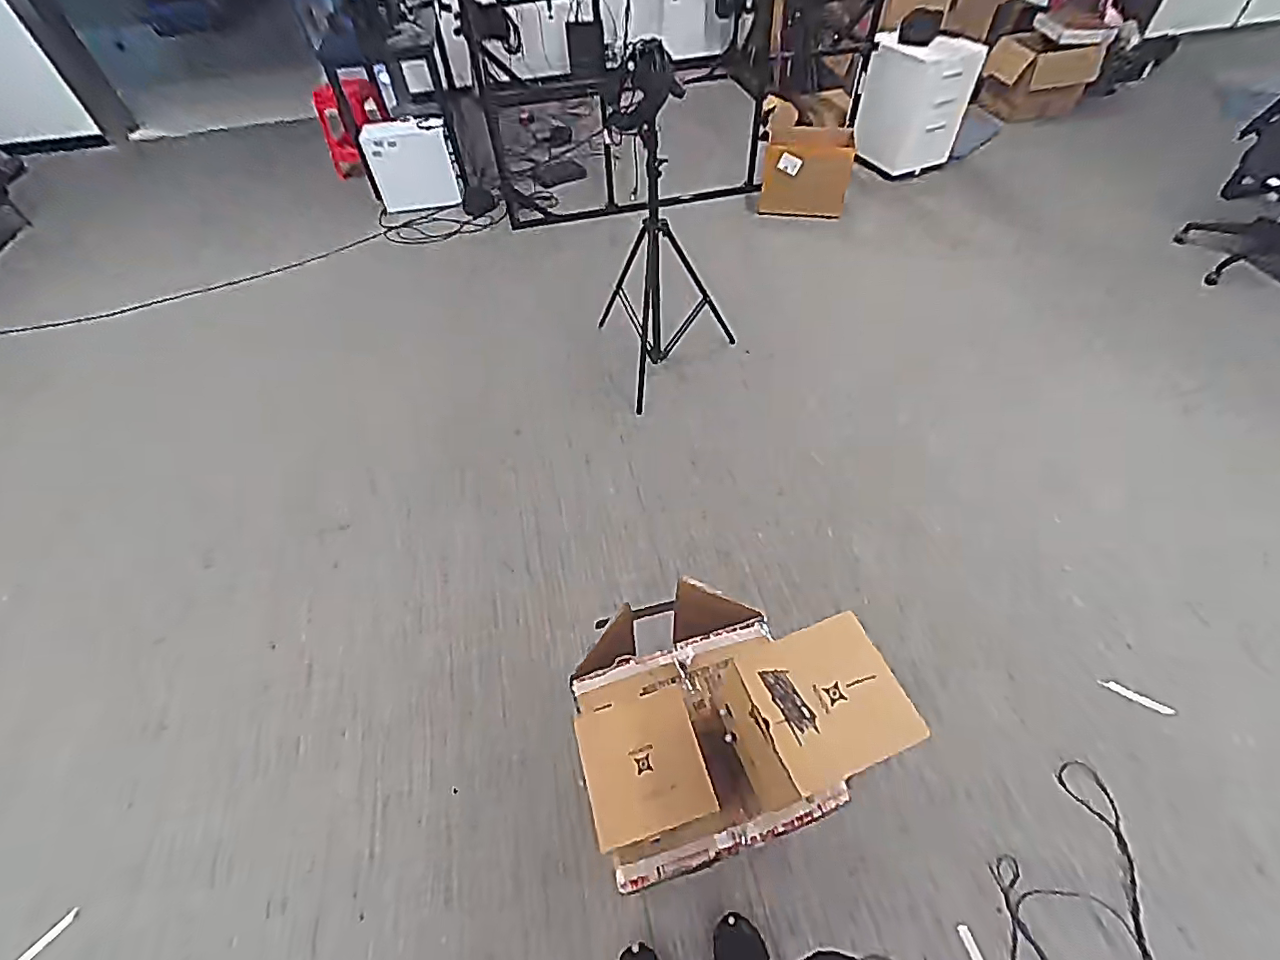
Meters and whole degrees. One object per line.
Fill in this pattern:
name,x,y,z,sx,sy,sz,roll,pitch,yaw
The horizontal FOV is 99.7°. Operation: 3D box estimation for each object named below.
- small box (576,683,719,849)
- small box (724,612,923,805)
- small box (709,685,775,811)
small box,0.008,0.441,0.829,0.168,0.176,0.179,-16,57,-7
small box,0.222,0.306,0.715,0.179,0.176,0.168,-18,56,-12
small box,0.224,0.398,0.853,0.179,0.176,0.168,-18,56,-12
